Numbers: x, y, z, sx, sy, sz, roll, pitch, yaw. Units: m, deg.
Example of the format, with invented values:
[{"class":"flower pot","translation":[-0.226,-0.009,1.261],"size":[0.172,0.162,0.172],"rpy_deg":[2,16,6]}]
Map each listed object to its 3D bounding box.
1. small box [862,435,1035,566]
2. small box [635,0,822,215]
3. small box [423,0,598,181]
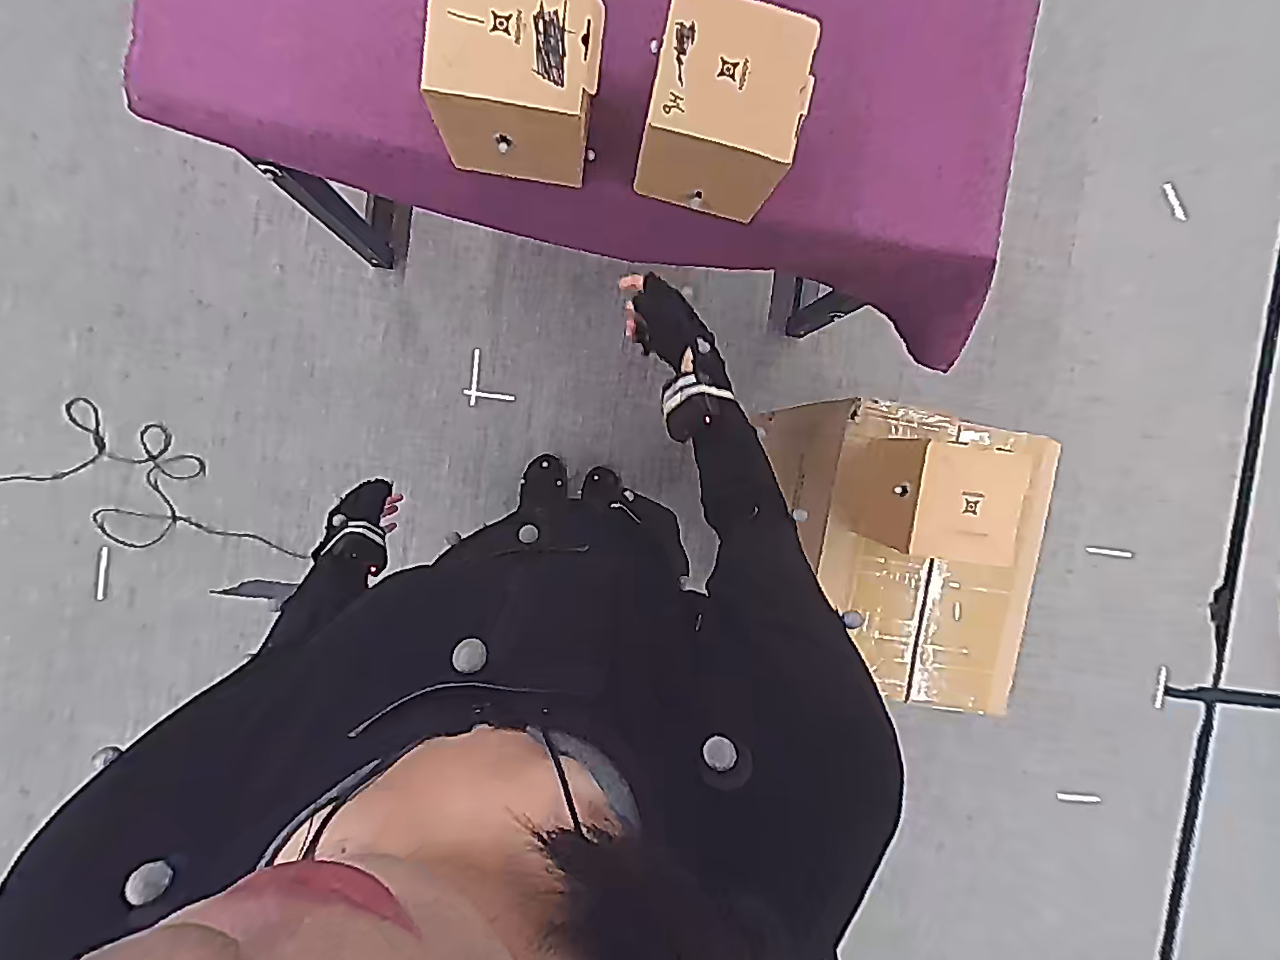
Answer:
[{"class":"small box","translation":[0.480,0.026,0.867],"size":[0.168,0.176,0.179],"rpy_deg":[8,94,-4]},{"class":"small box","translation":[0.101,-0.469,0.695],"size":[0.179,0.176,0.168],"rpy_deg":[12,91,-7]},{"class":"small box","translation":[-0.147,-0.498,0.665],"size":[0.179,0.176,0.168],"rpy_deg":[6,92,-5]}]
